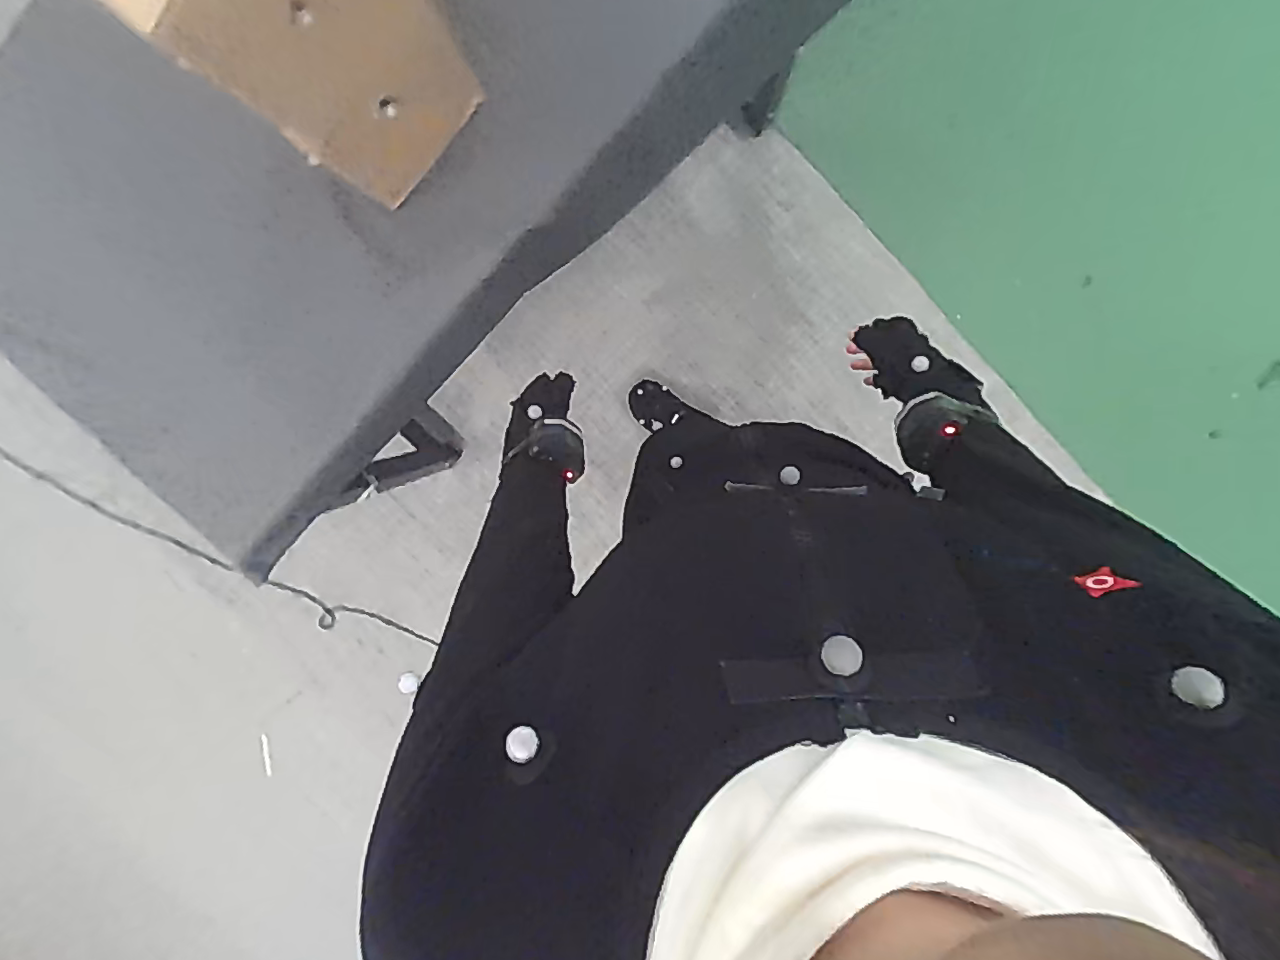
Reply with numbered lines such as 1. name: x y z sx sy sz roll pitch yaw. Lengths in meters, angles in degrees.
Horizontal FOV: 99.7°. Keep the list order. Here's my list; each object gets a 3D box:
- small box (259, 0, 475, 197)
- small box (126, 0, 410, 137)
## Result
1. small box: -0.303 -0.437 0.561 0.168 0.176 0.179 44 98 -5
2. small box: -0.302 -0.411 0.399 0.168 0.176 0.179 40 99 -5
